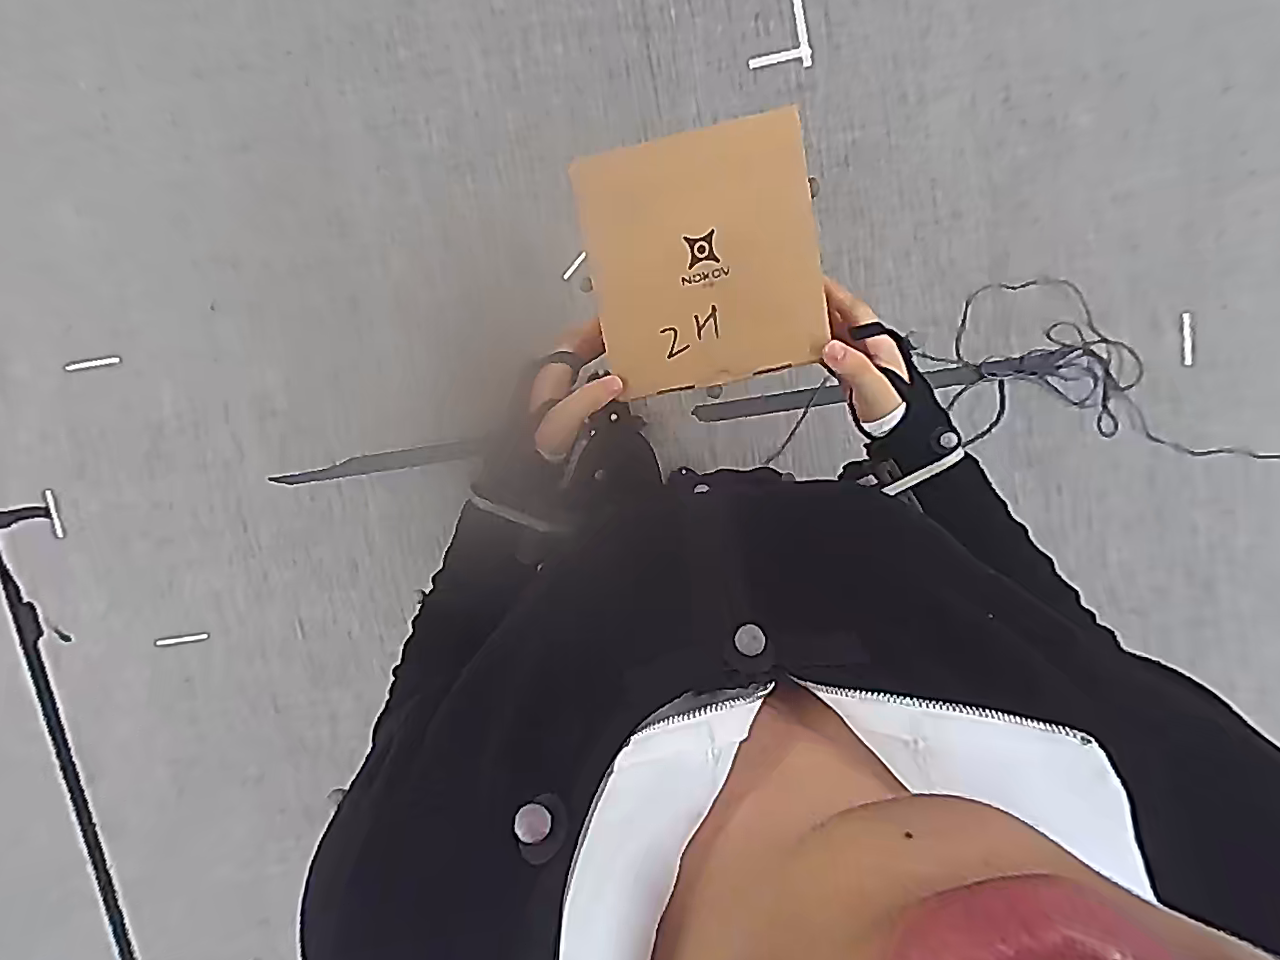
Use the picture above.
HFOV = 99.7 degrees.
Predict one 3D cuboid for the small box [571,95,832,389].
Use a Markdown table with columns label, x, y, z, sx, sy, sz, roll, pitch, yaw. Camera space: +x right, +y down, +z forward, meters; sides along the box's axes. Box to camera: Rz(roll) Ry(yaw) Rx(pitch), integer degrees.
| label | x | y | z | sx | sy | sz | roll | pitch | yaw |
| --- | --- | --- | --- | --- | --- | --- | --- | --- | --- |
| small box | 0.050 | -0.179 | 0.466 | 0.168 | 0.176 | 0.179 | -11 | 100 | 6 |
